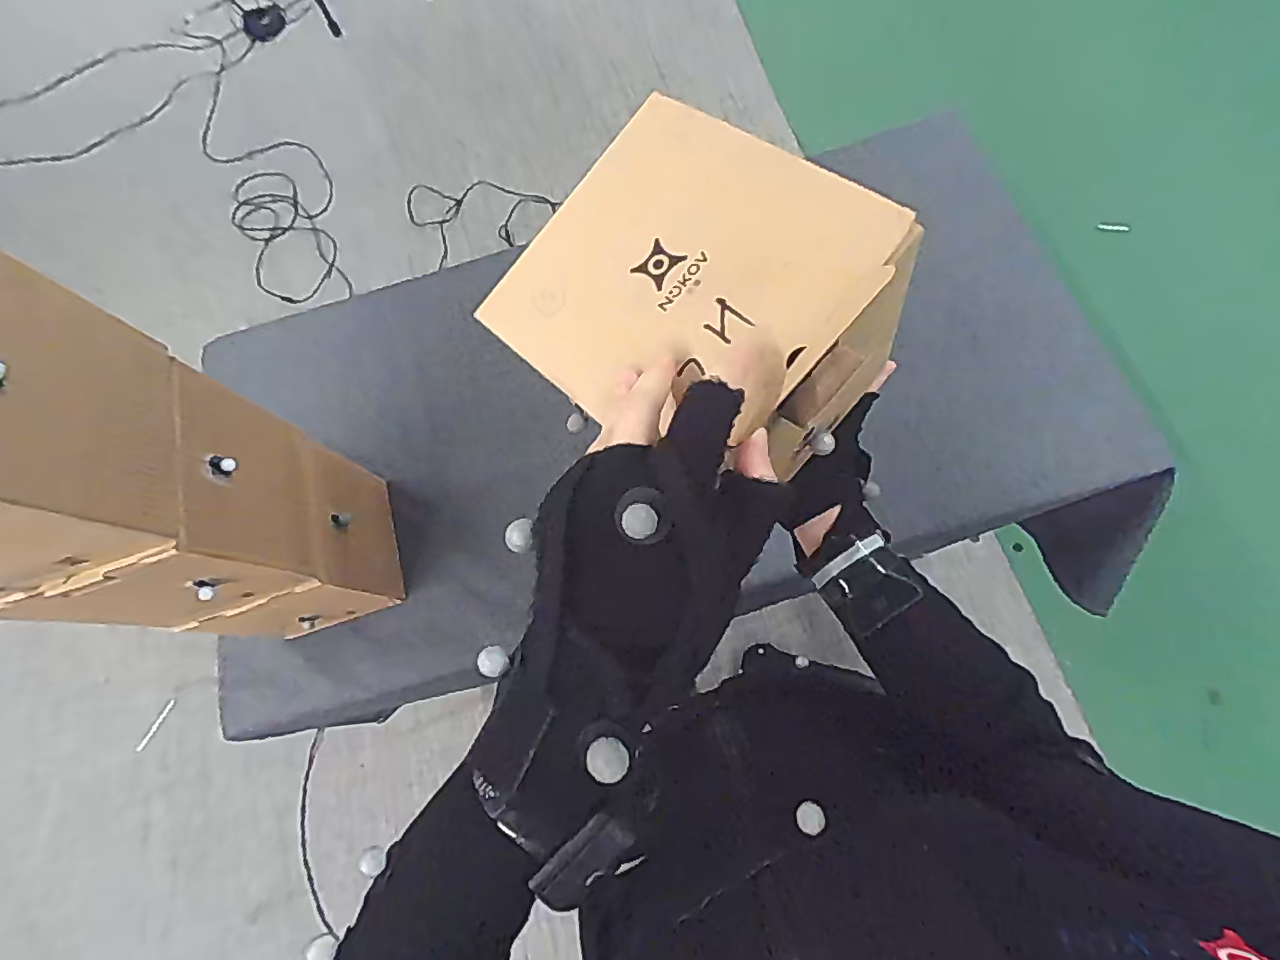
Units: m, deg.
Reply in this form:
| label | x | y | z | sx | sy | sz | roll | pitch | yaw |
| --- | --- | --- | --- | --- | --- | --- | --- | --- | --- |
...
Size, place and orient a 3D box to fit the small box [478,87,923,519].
| label | x | y | z | sx | sy | sz | roll | pitch | yaw |
| --- | --- | --- | --- | --- | --- | --- | --- | --- | --- |
| small box | 0.040 | -0.092 | 0.351 | 0.179 | 0.176 | 0.168 | 42 | 94 | 21 |

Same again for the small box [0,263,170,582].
| label | x | y | z | sx | sy | sz | roll | pitch | yaw |
| --- | --- | --- | --- | --- | --- | --- | --- | --- | --- |
| small box | -0.450 | -0.036 | 0.346 | 0.168 | 0.176 | 0.179 | -19 | 71 | -1 |

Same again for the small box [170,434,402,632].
| label | x | y | z | sx | sy | sz | roll | pitch | yaw |
| --- | --- | --- | --- | --- | --- | --- | --- | --- | --- |
| small box | -0.415 | 0.073 | 0.653 | 0.168 | 0.176 | 0.179 | -18 | 72 | 0 |

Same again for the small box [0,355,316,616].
| label | x | y | z | sx | sy | sz | roll | pitch | yaw |
| --- | --- | --- | --- | --- | --- | --- | --- | --- | --- |
| small box | -0.431 | 0.020 | 0.499 | 0.168 | 0.176 | 0.179 | -17 | 71 | 0 |
